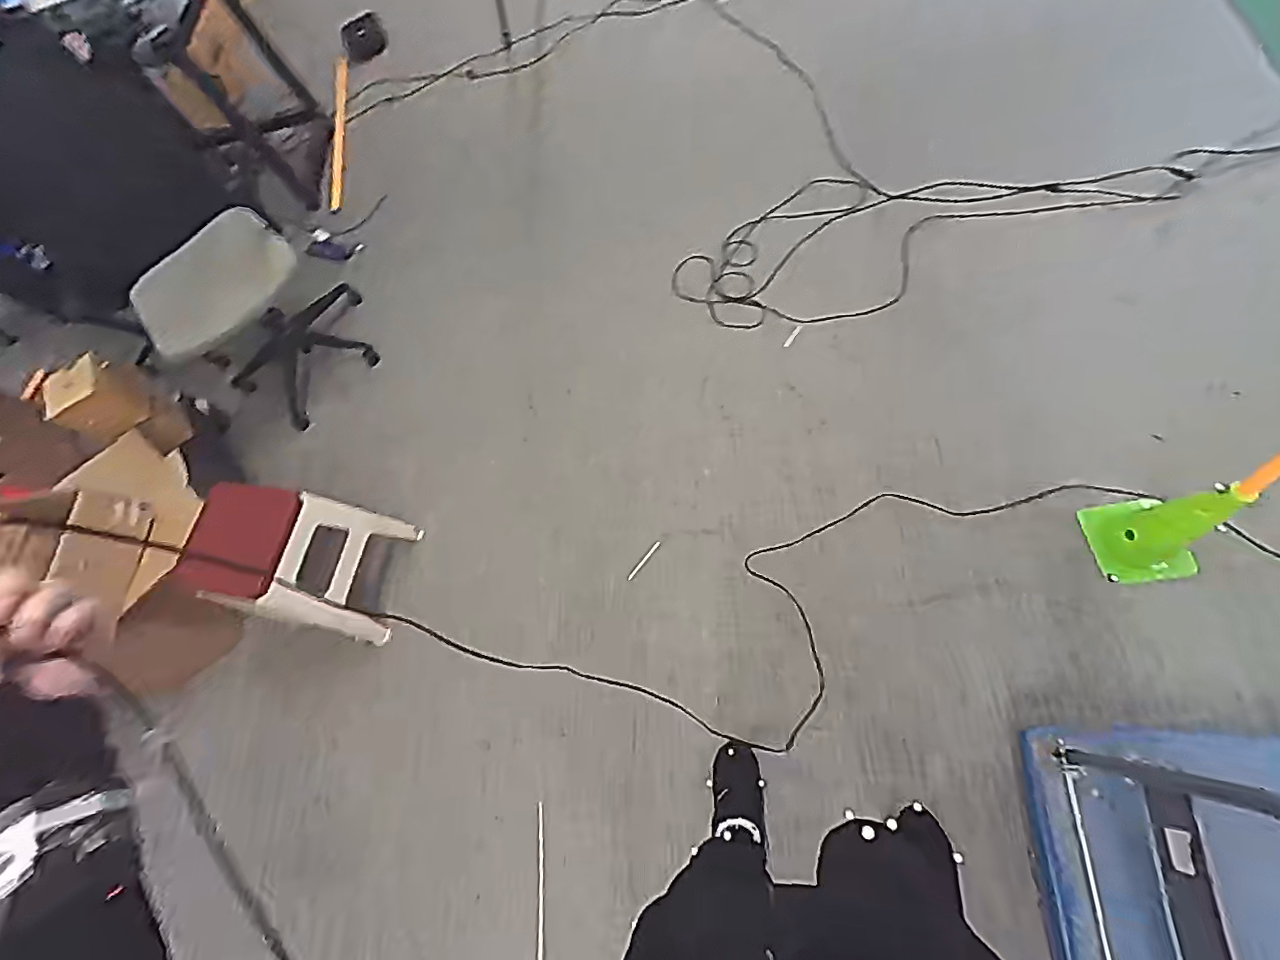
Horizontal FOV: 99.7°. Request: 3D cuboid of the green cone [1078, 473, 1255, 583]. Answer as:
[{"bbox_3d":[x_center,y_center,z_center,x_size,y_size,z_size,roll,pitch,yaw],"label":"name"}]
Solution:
[{"bbox_3d":[1.192,0.079,1.184,0.200,0.368,0.202,-11,65,9],"label":"green cone"}]
